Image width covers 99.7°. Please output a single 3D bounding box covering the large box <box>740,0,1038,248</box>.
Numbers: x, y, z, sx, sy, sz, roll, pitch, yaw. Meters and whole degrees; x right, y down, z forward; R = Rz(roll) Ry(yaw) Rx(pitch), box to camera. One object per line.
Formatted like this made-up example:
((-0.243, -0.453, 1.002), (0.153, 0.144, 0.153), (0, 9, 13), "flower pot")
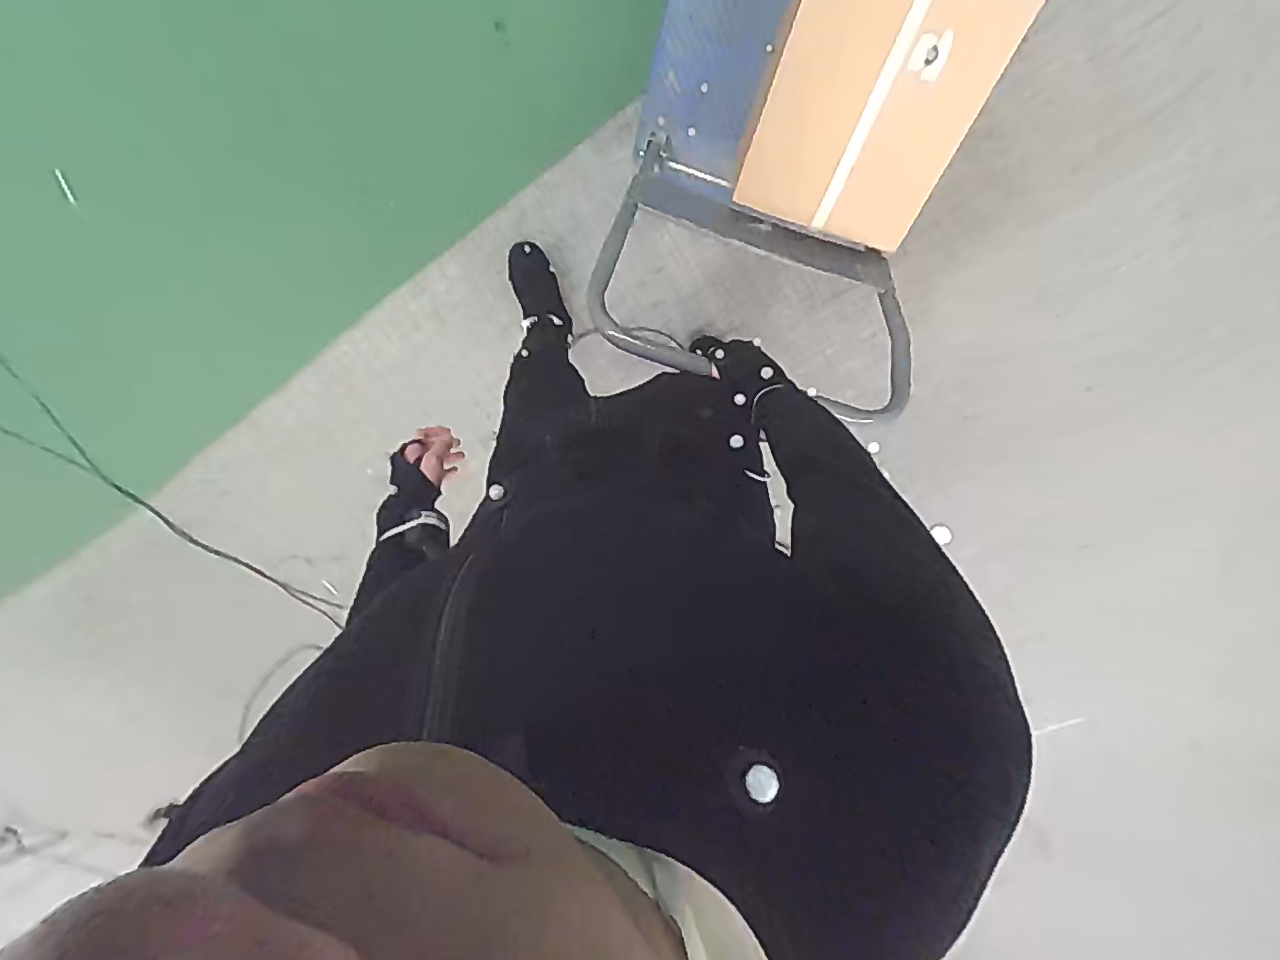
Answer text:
((0.387, -0.691, 0.939), (0.320, 0.320, 0.408), (15, 134, -4), "large box")
